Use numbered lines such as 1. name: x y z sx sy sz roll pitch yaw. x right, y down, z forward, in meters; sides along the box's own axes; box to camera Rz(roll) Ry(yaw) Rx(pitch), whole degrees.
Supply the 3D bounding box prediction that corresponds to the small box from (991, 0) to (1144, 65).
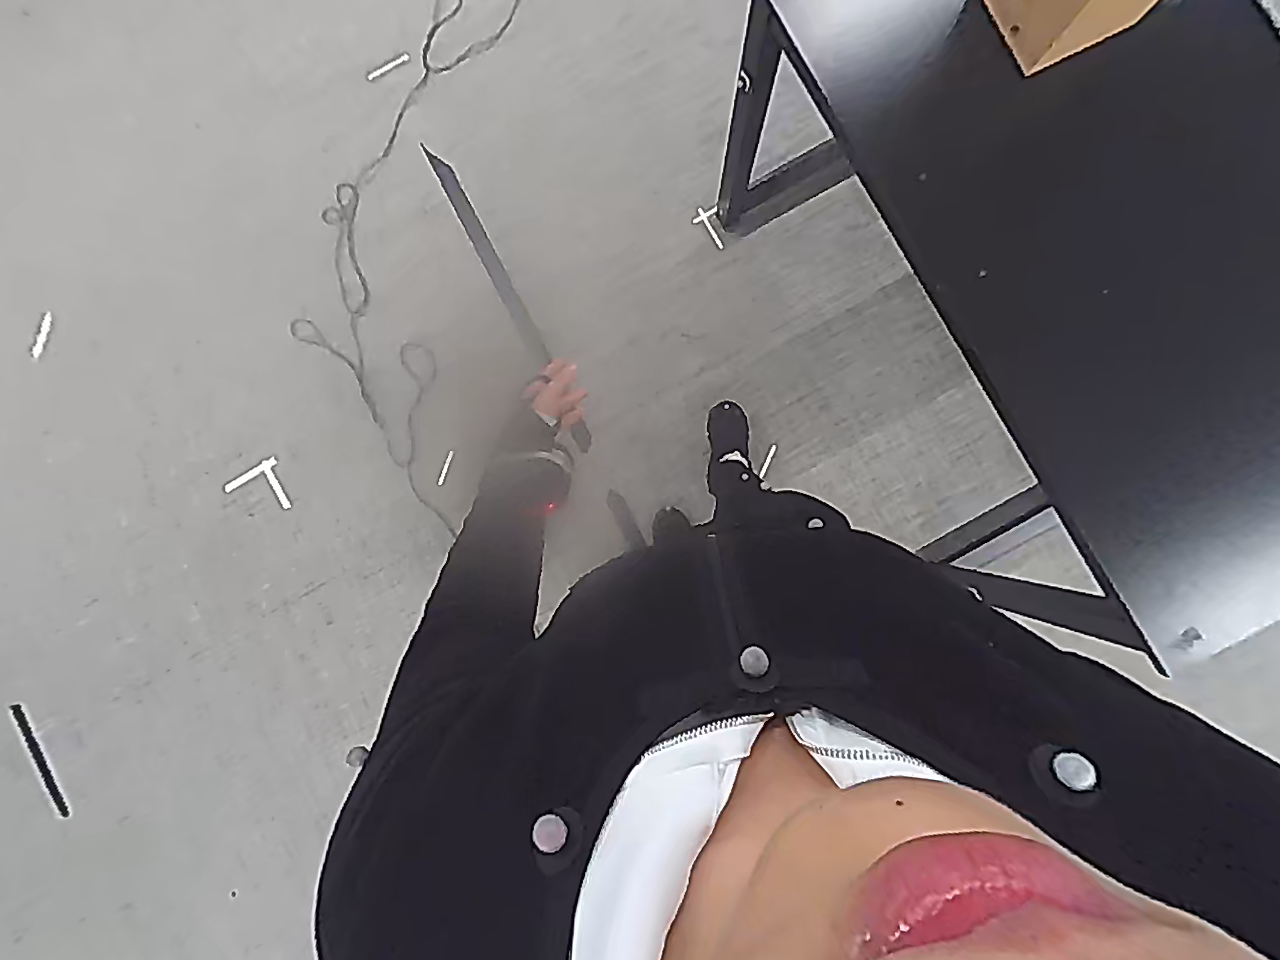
1. small box: 0.595 -0.705 0.708 0.179 0.176 0.168 -26 86 1
